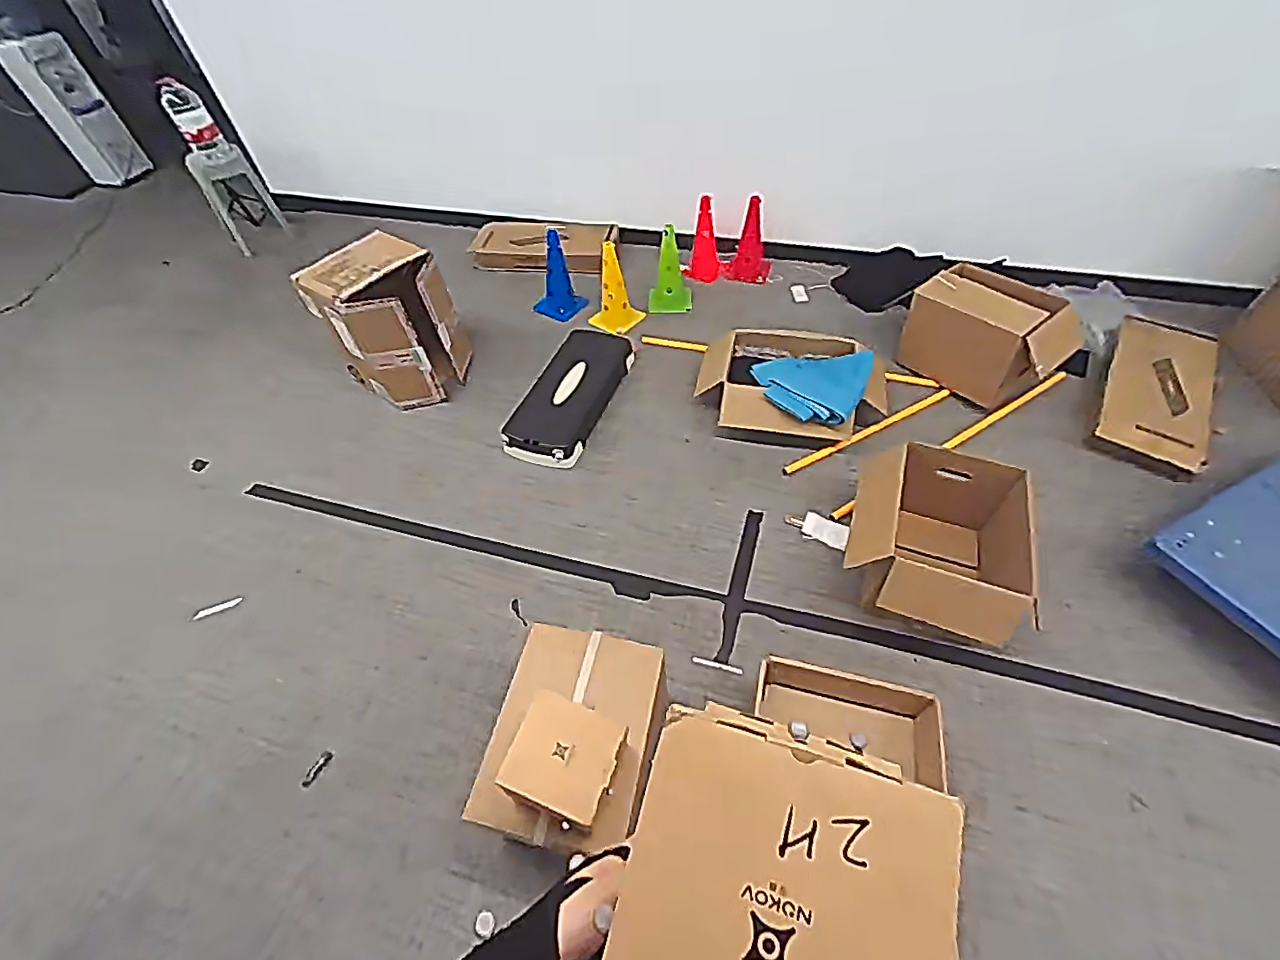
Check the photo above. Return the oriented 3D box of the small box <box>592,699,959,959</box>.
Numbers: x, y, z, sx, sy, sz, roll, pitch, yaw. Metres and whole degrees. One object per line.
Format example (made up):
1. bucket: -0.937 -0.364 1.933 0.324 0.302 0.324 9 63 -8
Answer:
1. small box: 0.082 0.259 0.347 0.168 0.176 0.179 11 68 17

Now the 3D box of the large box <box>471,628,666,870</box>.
1. large box: -0.123 0.601 1.216 0.320 0.320 0.408 8 53 11
